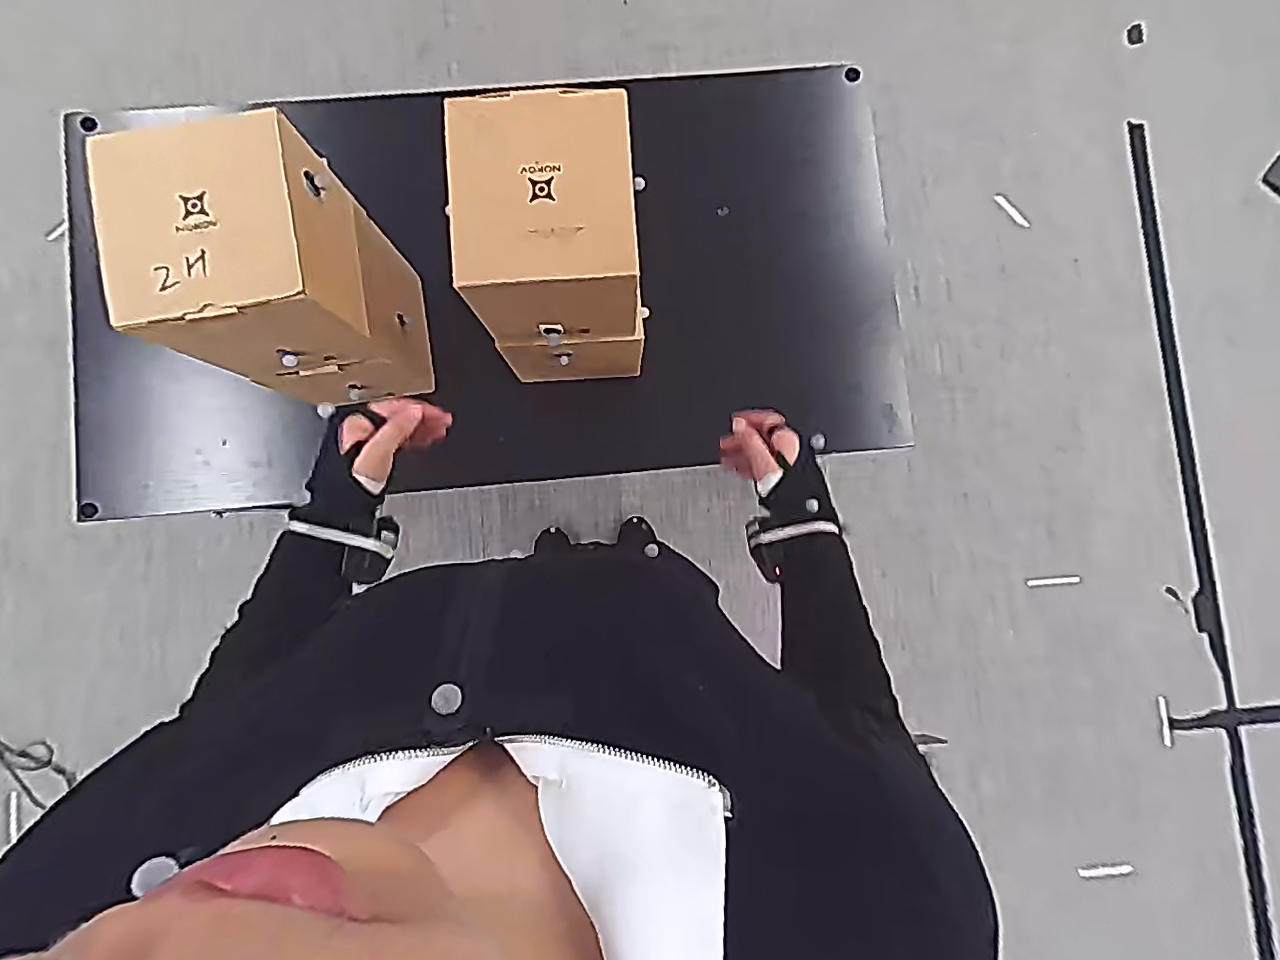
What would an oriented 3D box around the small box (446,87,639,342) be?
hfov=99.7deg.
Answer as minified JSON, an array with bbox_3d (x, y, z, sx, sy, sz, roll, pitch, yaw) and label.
[{"bbox_3d":[-0.090,-0.260,0.563,0.168,0.176,0.179,-5,87,-1],"label":"small box"}]

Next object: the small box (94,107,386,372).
[{"bbox_3d":[-0.384,-0.227,0.550,0.168,0.176,0.179,-11,86,-2],"label":"small box"}]

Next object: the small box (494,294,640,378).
[{"bbox_3d":[-0.092,-0.239,0.725,0.179,0.176,0.168,-4,86,-2],"label":"small box"}]

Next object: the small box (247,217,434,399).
[{"bbox_3d":[-0.389,-0.211,0.715,0.168,0.176,0.179,-9,87,-2],"label":"small box"}]
